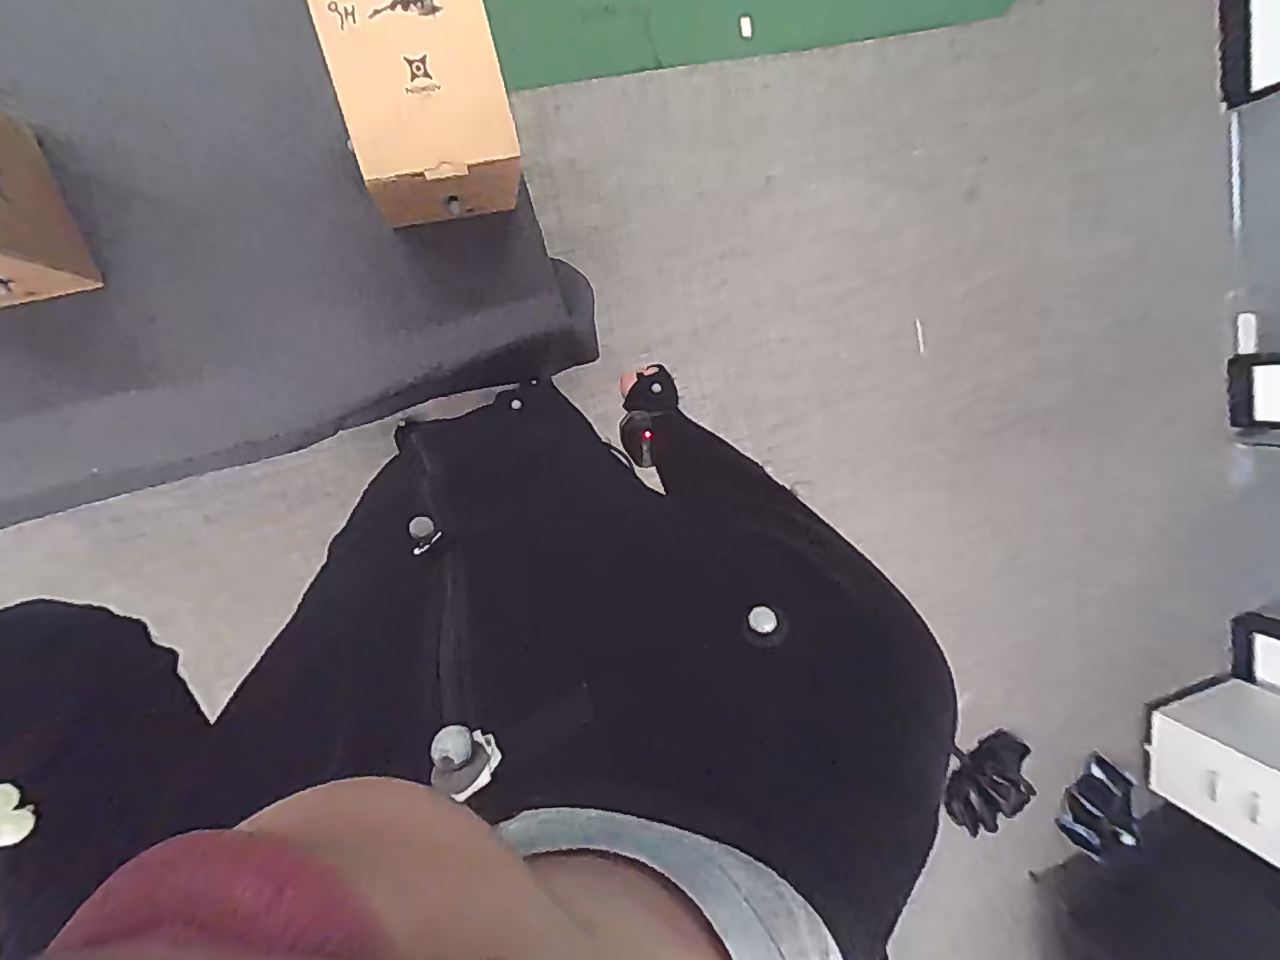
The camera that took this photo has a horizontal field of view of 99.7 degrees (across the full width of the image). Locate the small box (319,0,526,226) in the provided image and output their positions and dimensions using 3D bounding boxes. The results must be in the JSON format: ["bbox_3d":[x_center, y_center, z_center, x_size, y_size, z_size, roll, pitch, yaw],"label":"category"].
[{"bbox_3d":[-0.238,-0.414,0.635,0.168,0.176,0.179,-16,104,-12],"label":"small box"}]
